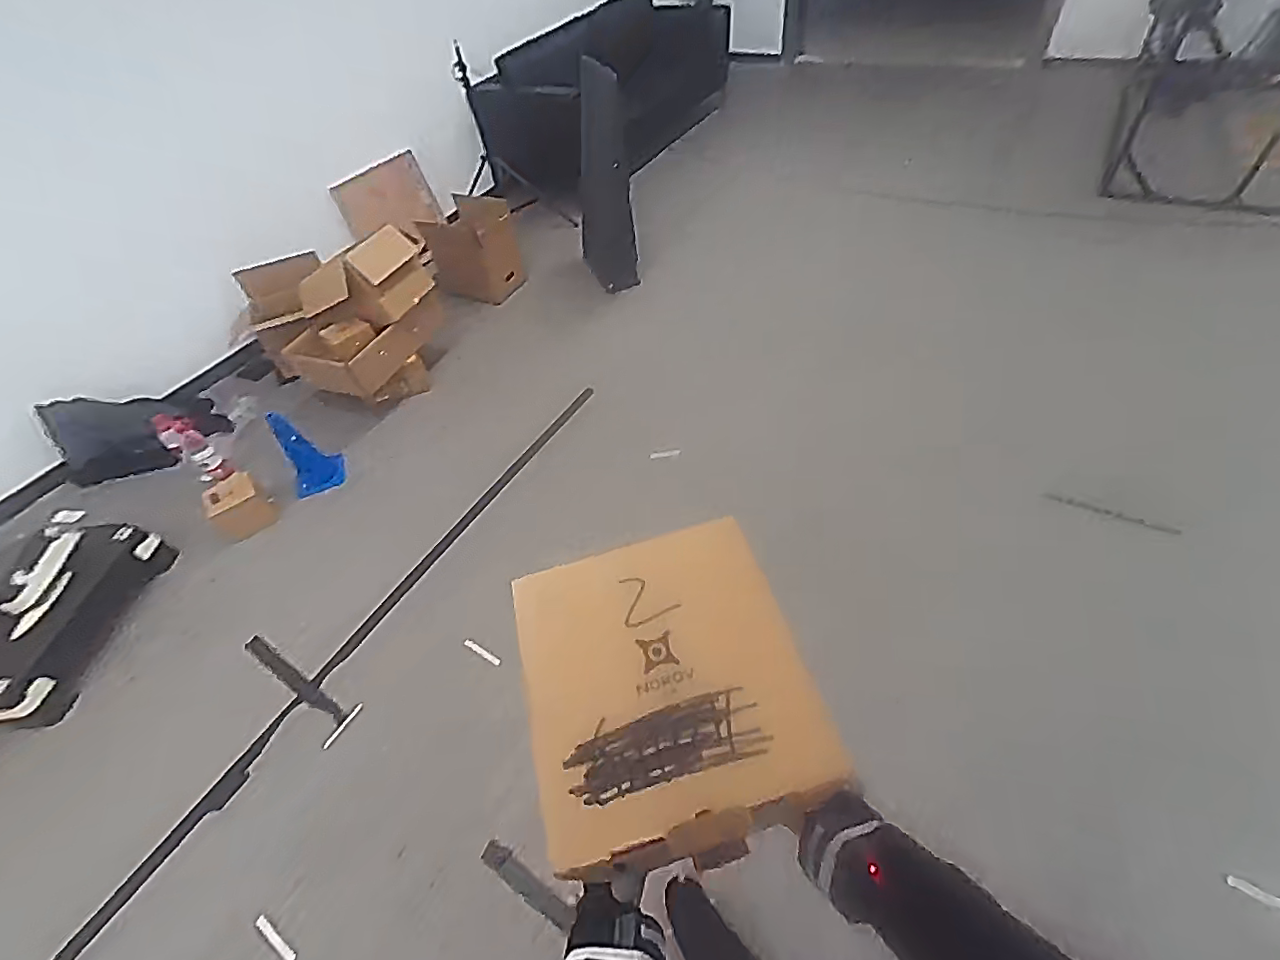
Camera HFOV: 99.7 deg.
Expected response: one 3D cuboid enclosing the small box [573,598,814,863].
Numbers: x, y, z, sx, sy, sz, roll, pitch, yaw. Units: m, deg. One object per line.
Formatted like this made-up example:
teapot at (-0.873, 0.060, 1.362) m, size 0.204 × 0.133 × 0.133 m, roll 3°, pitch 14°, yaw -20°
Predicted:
small box at (0.043, 0.247, 0.527) m, size 0.168 × 0.176 × 0.179 m, roll -17°, pitch 54°, yaw -5°
